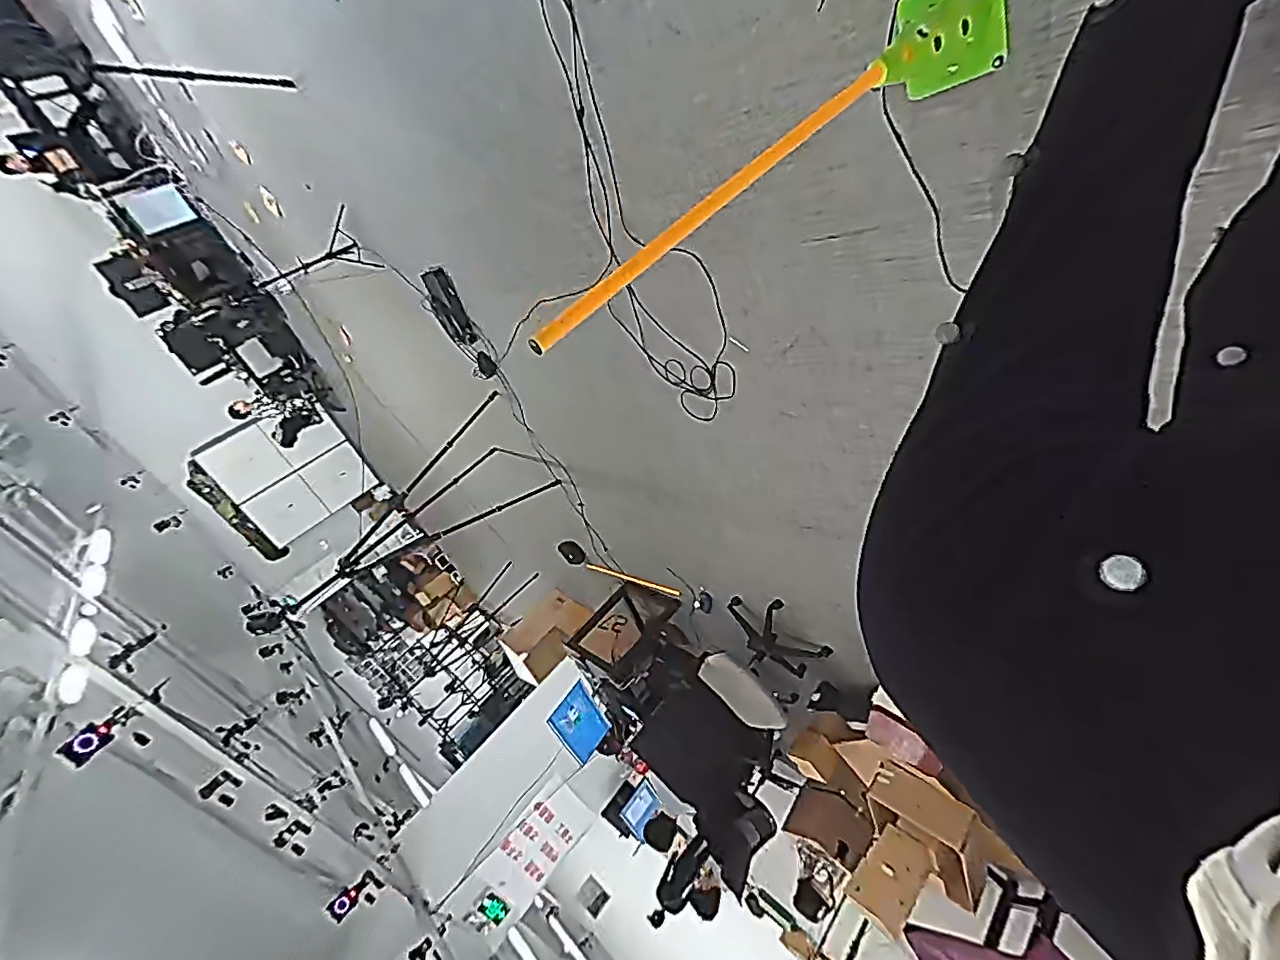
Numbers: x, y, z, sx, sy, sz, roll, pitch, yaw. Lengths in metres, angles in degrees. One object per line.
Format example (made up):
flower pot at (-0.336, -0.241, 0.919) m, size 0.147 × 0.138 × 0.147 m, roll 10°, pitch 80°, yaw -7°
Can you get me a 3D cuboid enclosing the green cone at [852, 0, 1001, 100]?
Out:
green cone at (0.524, -0.840, 1.057) m, size 0.202 × 0.368 × 0.200 m, roll 11°, pitch 135°, yaw 50°
